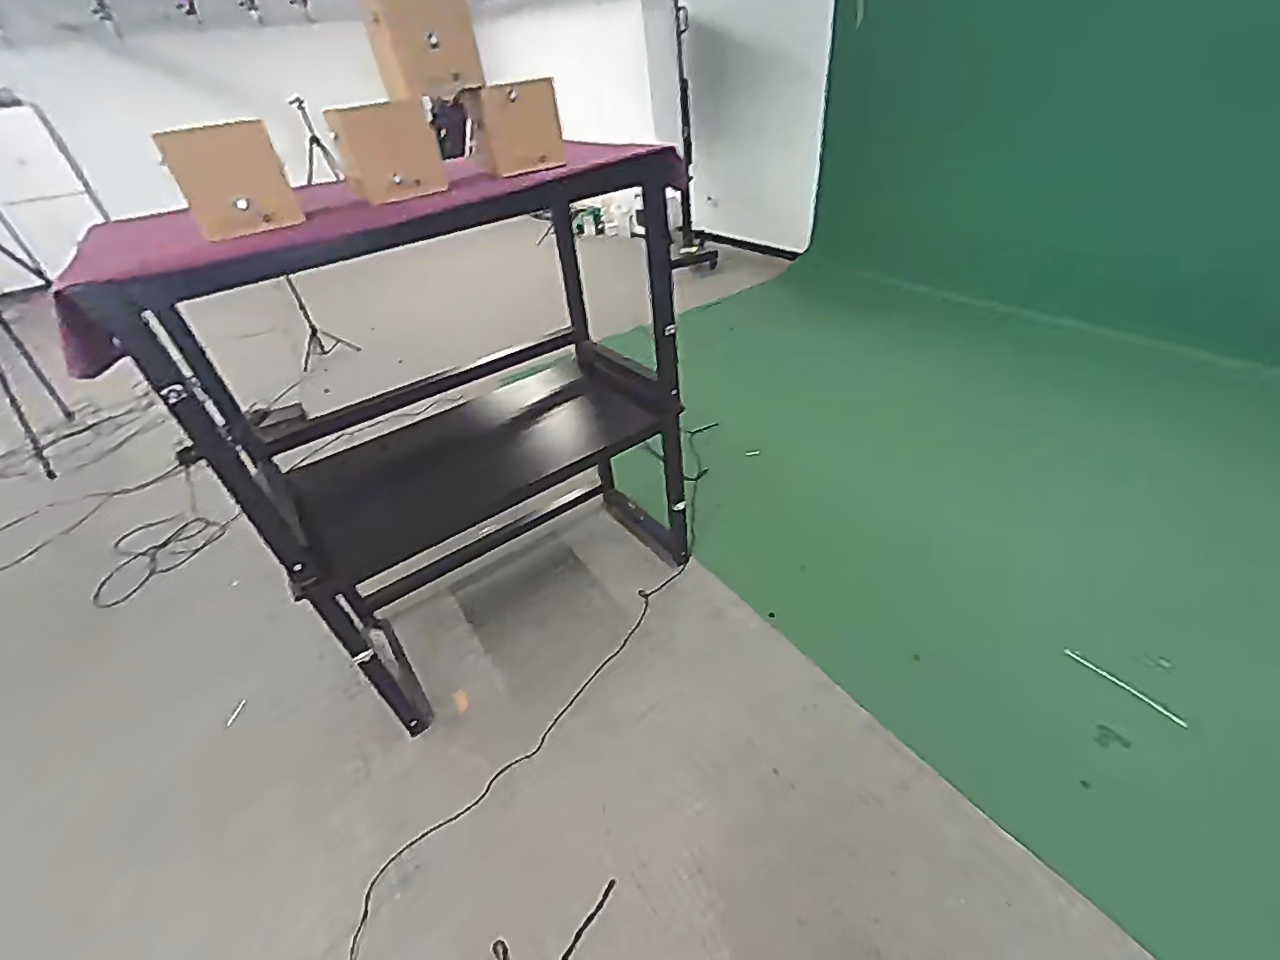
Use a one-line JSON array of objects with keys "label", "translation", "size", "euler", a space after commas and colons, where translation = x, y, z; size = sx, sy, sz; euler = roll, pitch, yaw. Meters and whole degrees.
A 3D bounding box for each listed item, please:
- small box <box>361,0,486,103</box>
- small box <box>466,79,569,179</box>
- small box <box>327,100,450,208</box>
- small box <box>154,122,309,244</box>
[{"label": "small box", "translation": [-0.429, -0.869, 1.085], "size": [0.168, 0.176, 0.179], "euler": [-26, 41, -22]}, {"label": "small box", "translation": [-0.279, -0.802, 1.241], "size": [0.168, 0.176, 0.179], "euler": [-23, 39, -17]}, {"label": "small box", "translation": [-0.520, -0.677, 1.126], "size": [0.168, 0.176, 0.179], "euler": [-27, 42, -22]}, {"label": "small box", "translation": [-0.742, -0.545, 0.992], "size": [0.168, 0.176, 0.179], "euler": [-29, 43, -25]}]
